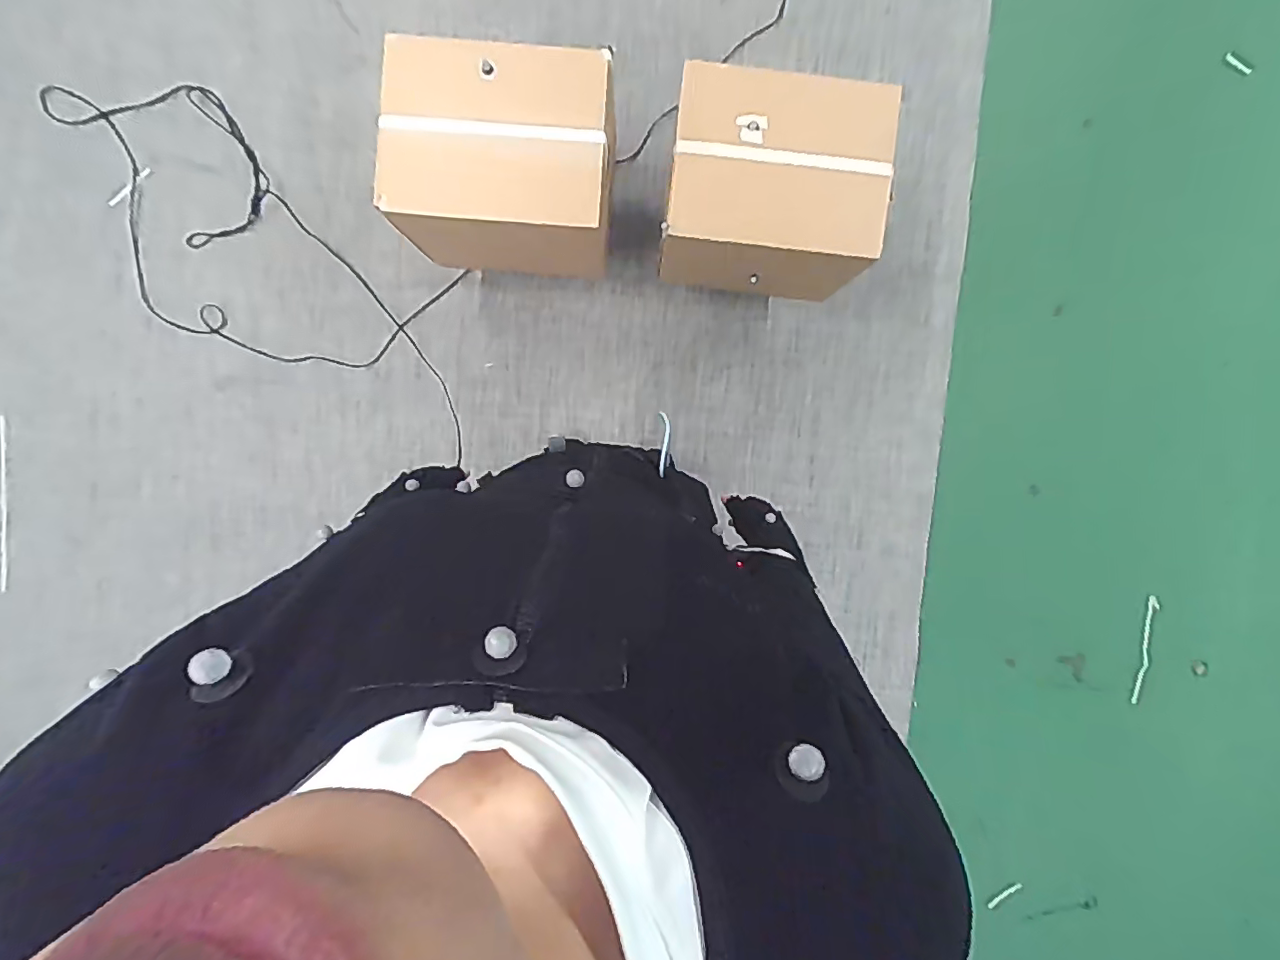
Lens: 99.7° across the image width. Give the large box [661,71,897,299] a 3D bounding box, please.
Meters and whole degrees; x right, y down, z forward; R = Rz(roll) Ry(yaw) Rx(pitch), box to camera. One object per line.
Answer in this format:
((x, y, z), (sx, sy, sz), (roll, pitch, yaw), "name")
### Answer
((0.265, -0.595, 1.156), (0.408, 0.320, 0.320), (7, 93, -1), "large box")
